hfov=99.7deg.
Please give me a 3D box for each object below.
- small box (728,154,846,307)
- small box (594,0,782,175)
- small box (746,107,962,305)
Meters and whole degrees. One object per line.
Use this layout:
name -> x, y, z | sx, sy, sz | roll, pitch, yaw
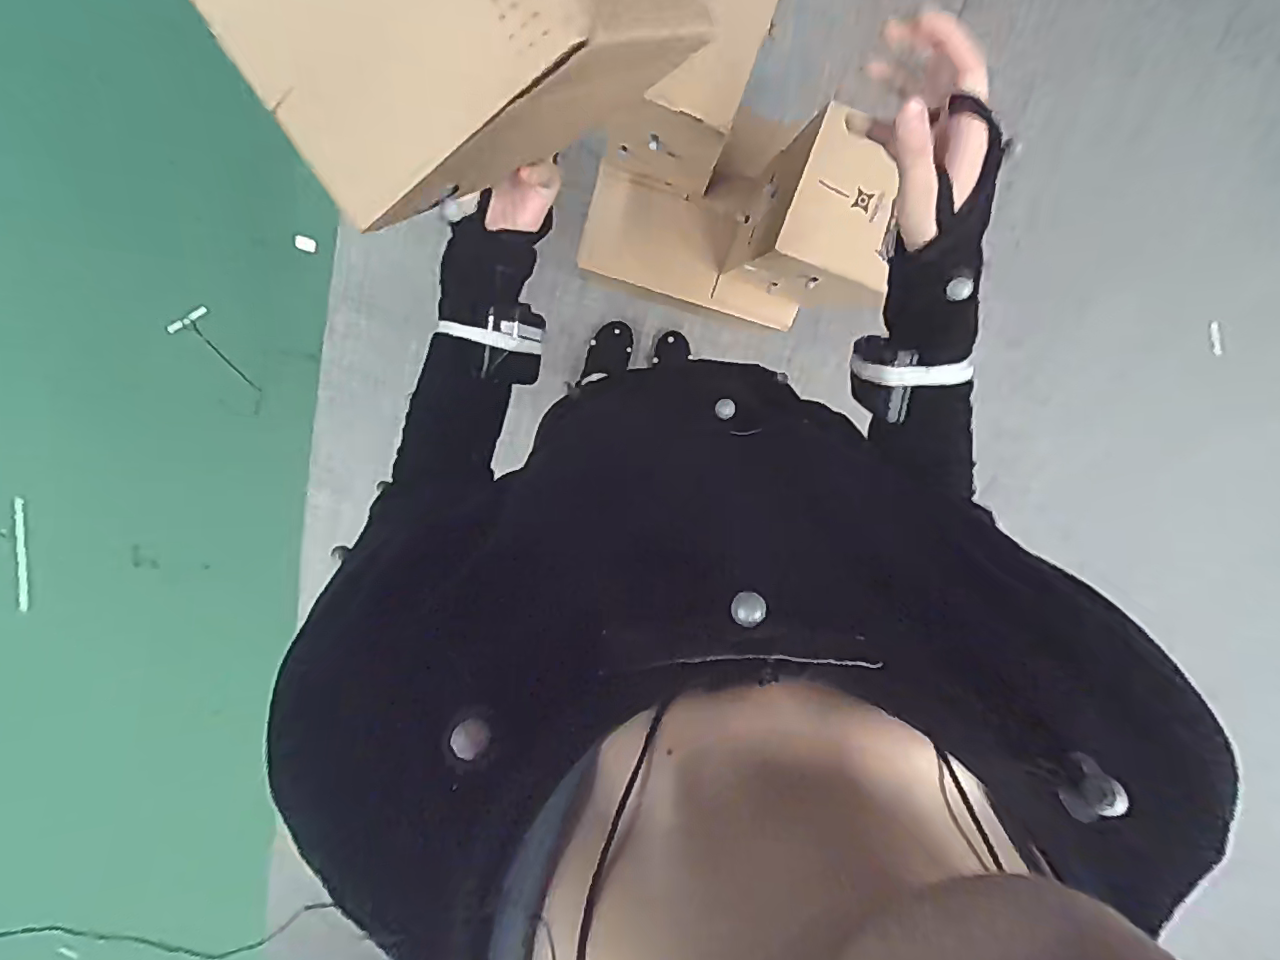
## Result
small box -> 0.254, -0.381, 0.863 | 0.179, 0.176, 0.168 | 18, 106, -5
small box -> 0.054, -0.512, 0.659 | 0.168, 0.176, 0.179 | 21, 104, -5
small box -> 0.261, -0.338, 0.705 | 0.179, 0.176, 0.168 | 19, 104, -6
